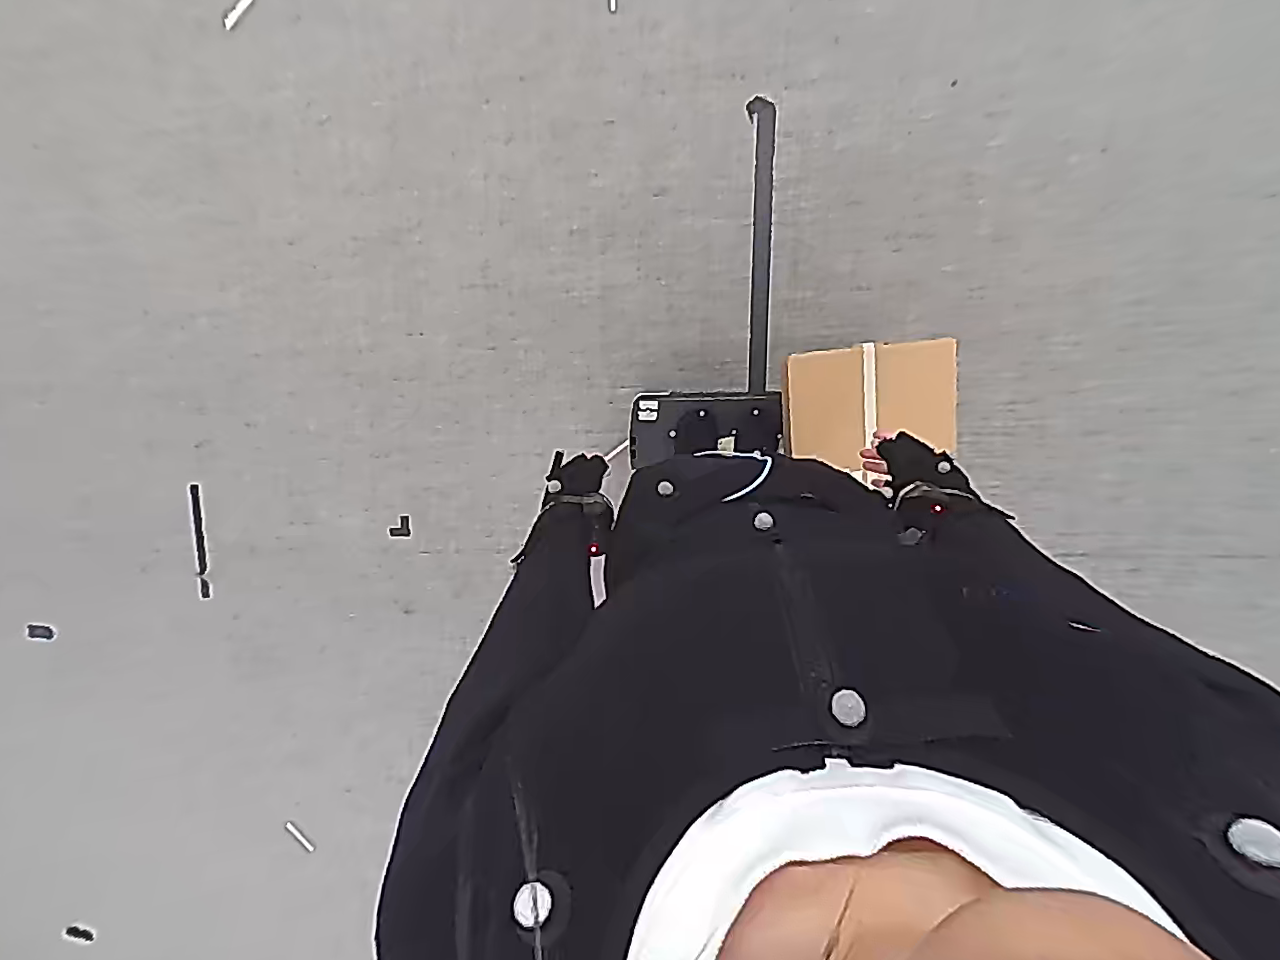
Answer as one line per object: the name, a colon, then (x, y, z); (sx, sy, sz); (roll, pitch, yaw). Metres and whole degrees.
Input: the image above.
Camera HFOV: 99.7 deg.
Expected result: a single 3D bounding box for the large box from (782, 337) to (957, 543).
large box: (0.502, -0.097, 1.238); (0.320, 0.320, 0.408); (-3, 100, 13)
